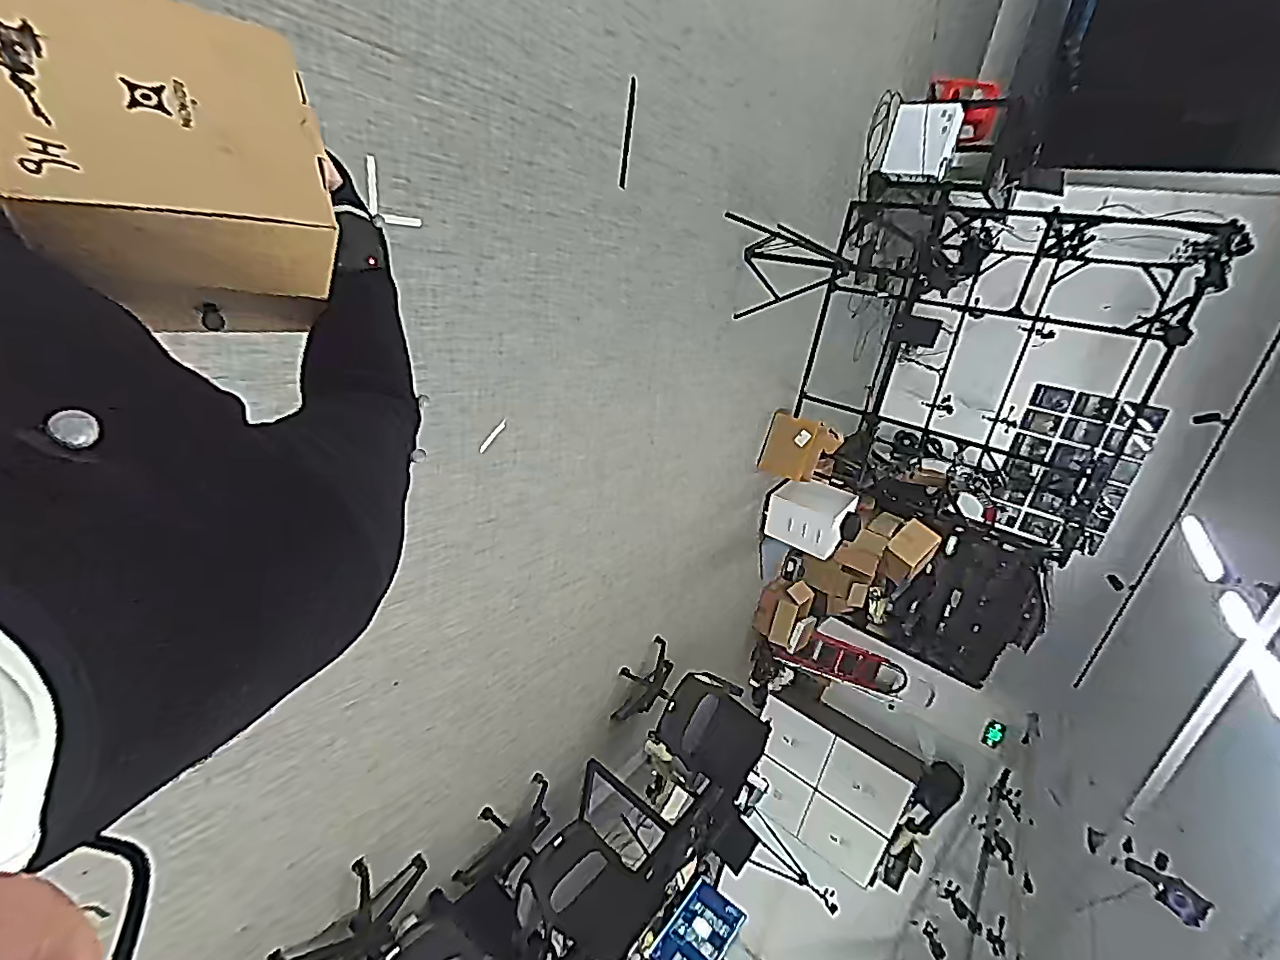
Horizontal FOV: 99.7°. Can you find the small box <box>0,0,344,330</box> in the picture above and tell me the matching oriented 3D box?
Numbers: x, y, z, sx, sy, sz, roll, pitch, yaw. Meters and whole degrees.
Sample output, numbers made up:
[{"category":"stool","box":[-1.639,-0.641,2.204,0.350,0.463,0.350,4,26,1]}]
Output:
[{"category":"small box","box":[-0.365,-0.236,0.441,0.179,0.176,0.168,-12,83,-37]}]
